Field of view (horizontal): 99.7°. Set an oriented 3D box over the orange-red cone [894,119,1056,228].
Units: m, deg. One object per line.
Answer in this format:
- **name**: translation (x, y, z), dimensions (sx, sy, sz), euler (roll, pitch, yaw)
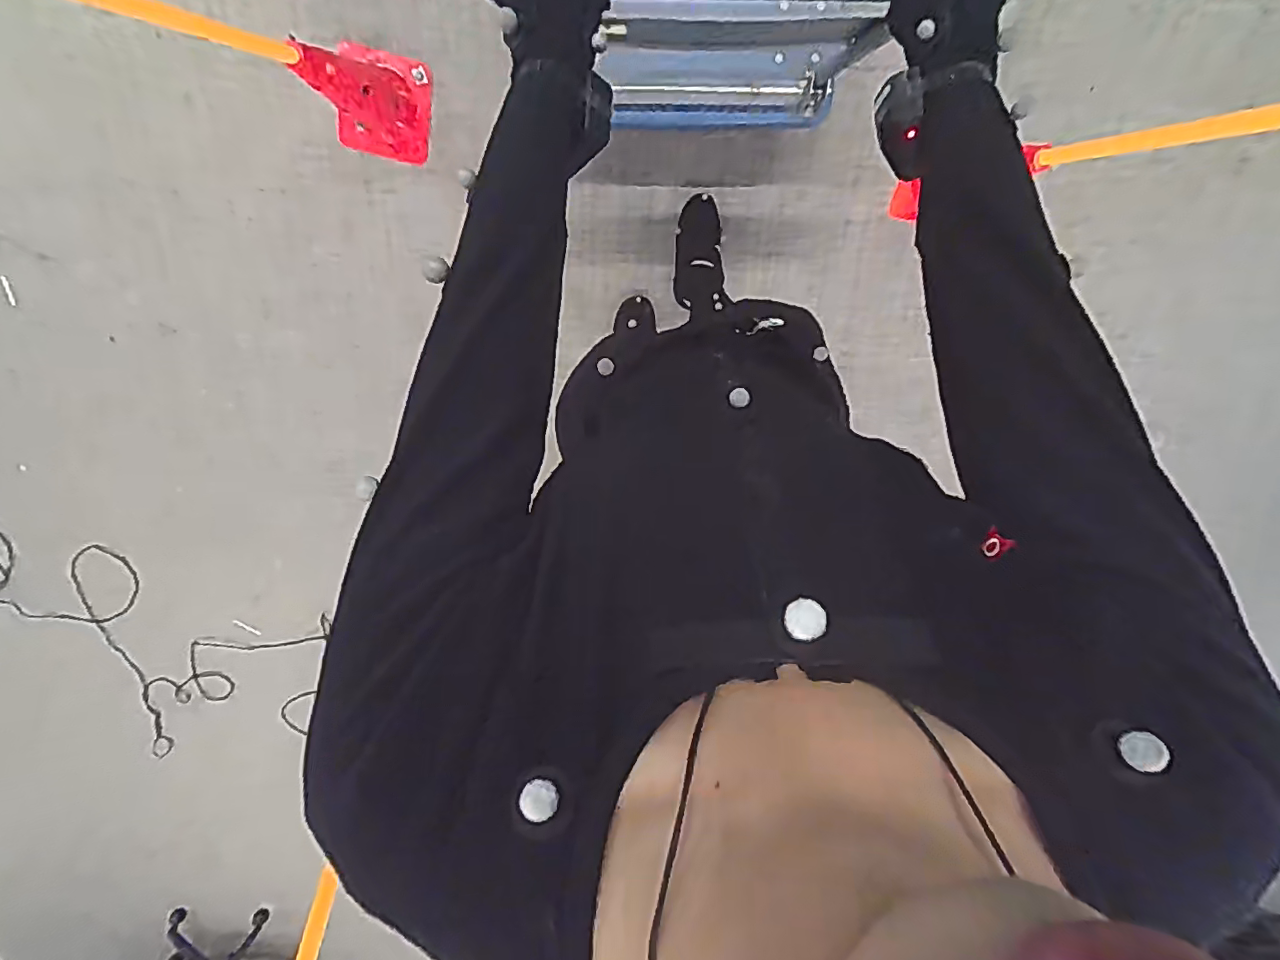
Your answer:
- **orange-red cone**: translation (0.711, -0.639, 1.103), dimensions (0.198, 0.360, 0.199), euler (11, 114, -4)
